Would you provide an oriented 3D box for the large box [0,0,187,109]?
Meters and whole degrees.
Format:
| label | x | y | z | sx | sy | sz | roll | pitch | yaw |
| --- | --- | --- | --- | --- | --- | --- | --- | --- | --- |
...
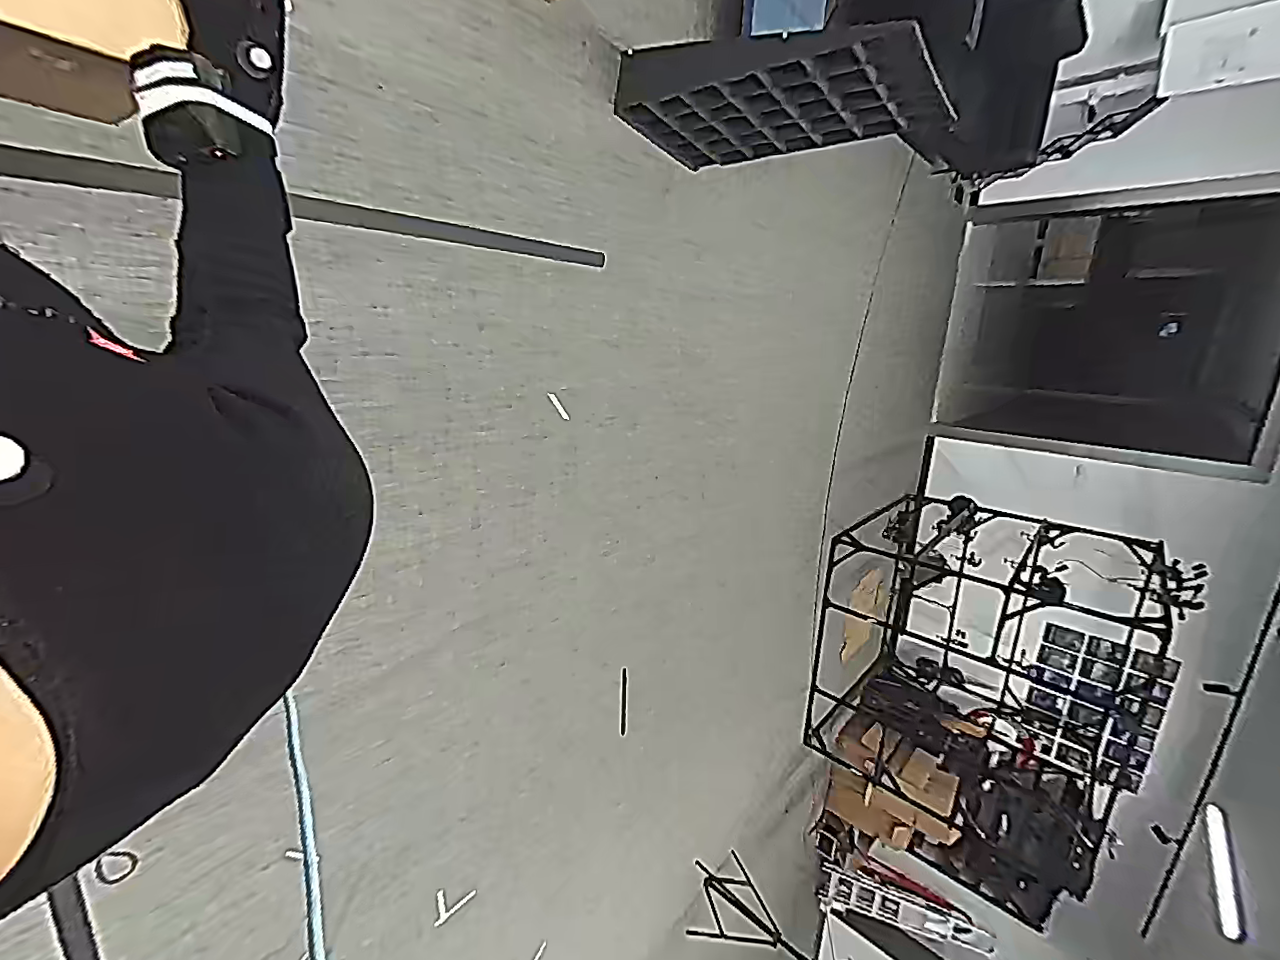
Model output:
| label | x | y | z | sx | sy | sz | roll | pitch | yaw |
| --- | --- | --- | --- | --- | --- | --- | --- | --- | --- |
| large box | -0.565 | -0.463 | 0.299 | 0.408 | 0.320 | 0.320 | -14 | 118 | -50 |
